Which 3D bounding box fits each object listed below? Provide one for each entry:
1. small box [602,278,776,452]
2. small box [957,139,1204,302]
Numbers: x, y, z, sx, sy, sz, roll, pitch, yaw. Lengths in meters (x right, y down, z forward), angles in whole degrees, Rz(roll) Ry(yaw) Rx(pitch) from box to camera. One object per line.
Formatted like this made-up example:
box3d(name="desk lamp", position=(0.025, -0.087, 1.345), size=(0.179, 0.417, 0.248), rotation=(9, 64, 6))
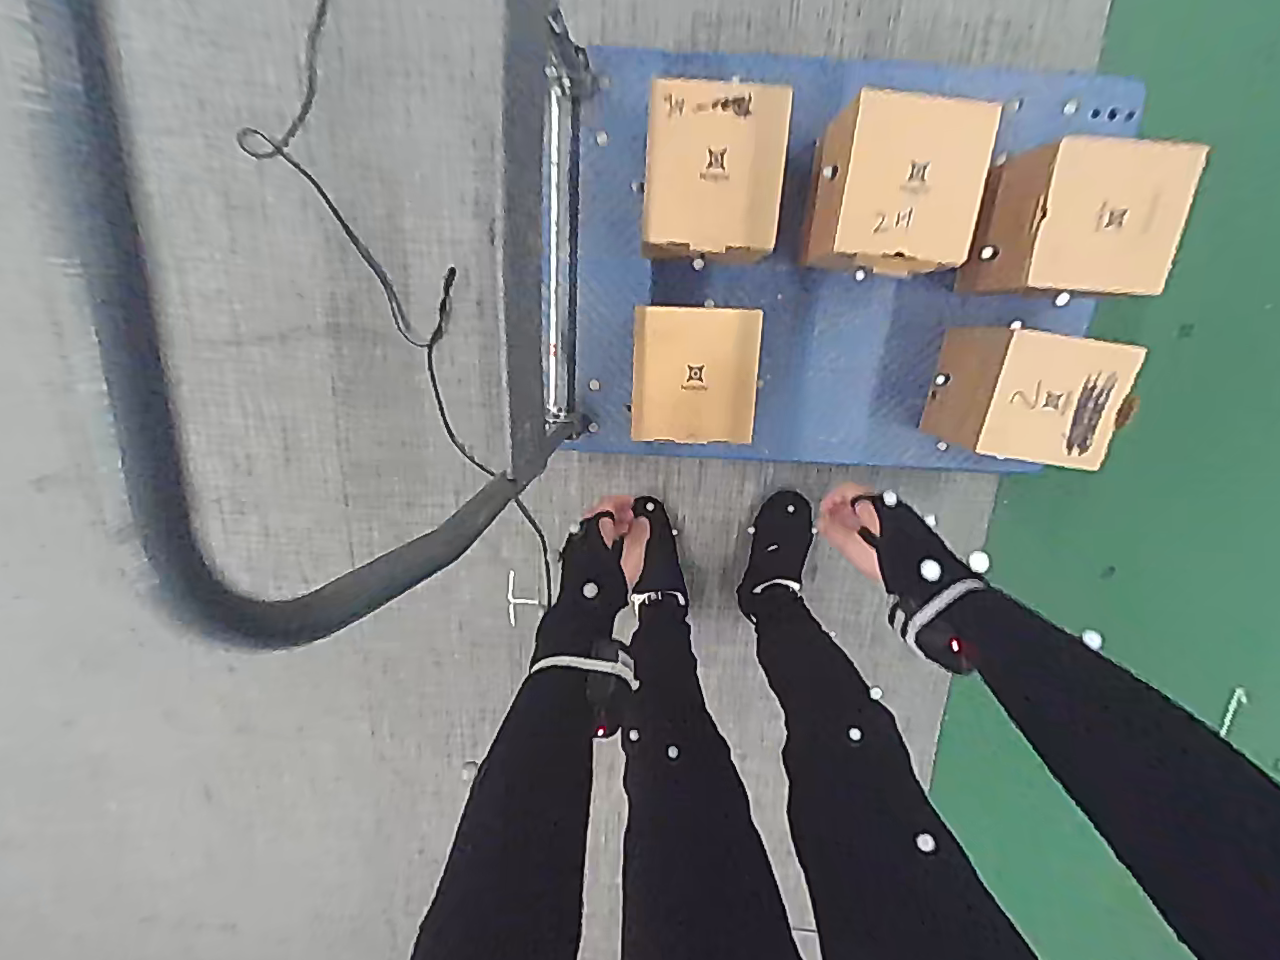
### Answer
box3d(name="small box", position=(0.066, -0.167, 0.790), size=(0.179, 0.176, 0.168), rotation=(33, 105, -7))
box3d(name="small box", position=(0.568, -0.335, 0.729), size=(0.179, 0.176, 0.168), rotation=(5, 106, 0))
